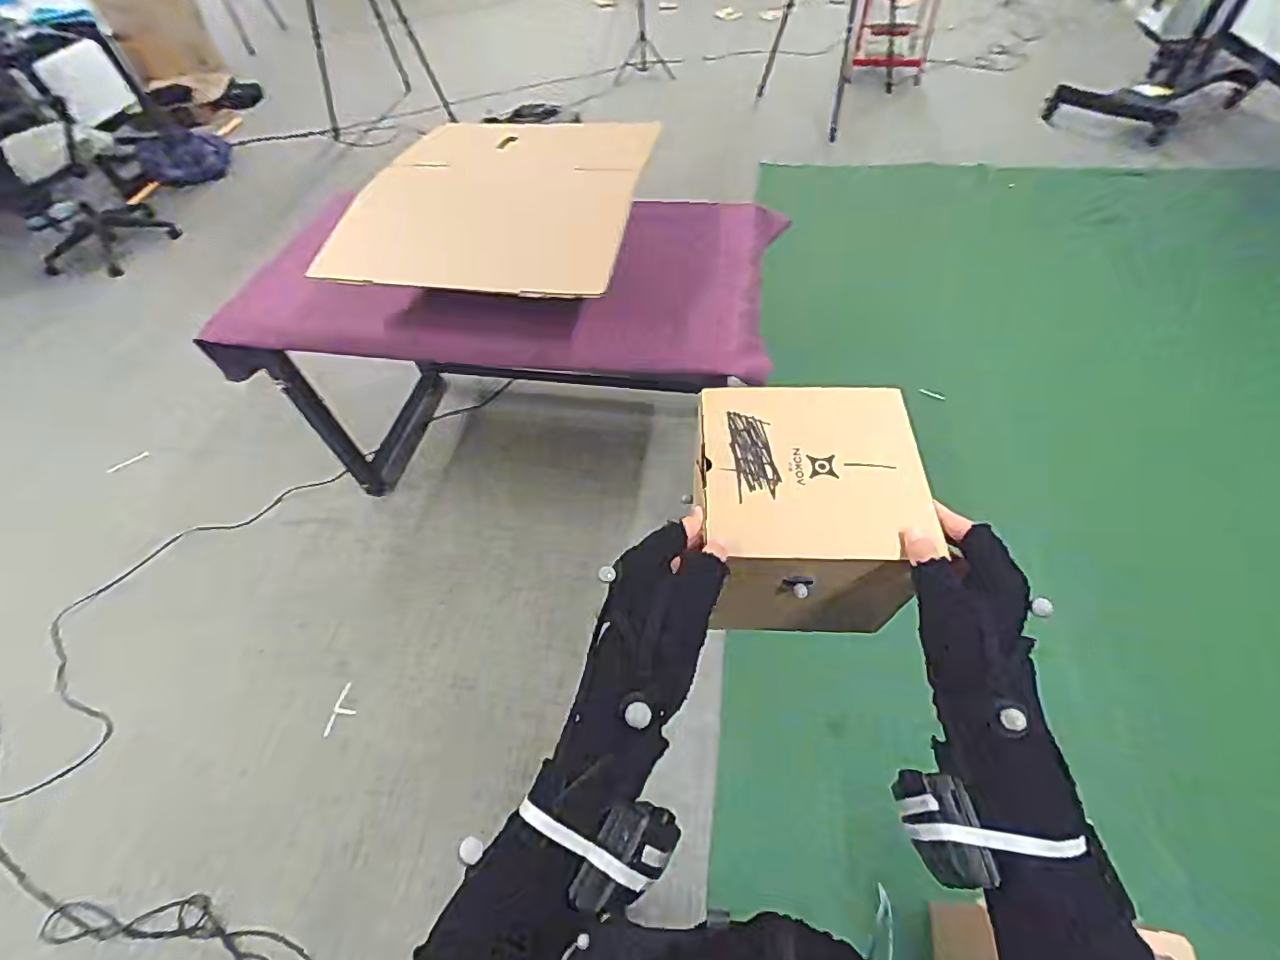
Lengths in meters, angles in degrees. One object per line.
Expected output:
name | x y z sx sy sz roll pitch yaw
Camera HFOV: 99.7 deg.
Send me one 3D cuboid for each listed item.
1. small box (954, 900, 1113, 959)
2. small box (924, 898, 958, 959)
small box | 0.630 0.803 0.866 0.168 0.176 0.179 7 54 10
small box | 0.646 0.899 0.996 0.168 0.176 0.179 7 55 9
